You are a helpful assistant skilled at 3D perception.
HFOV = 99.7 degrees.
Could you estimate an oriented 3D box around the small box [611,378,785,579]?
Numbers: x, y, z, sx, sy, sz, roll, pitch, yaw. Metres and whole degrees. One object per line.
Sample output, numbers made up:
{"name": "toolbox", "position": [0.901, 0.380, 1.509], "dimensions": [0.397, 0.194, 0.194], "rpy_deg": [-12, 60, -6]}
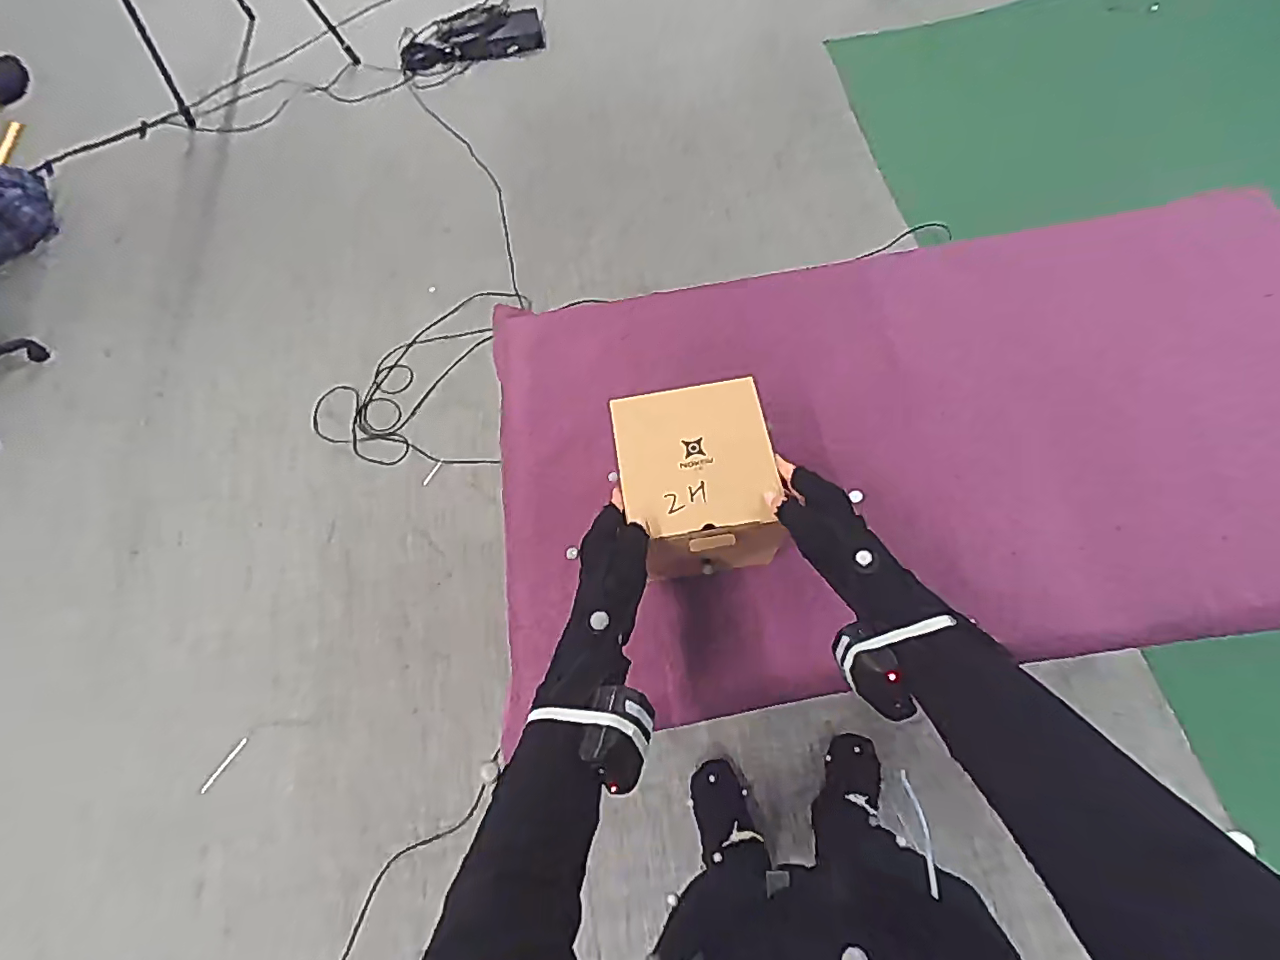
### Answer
{"name": "small box", "position": [0.063, 0.005, 0.654], "dimensions": [0.168, 0.176, 0.179], "rpy_deg": [-10, 66, 2]}
